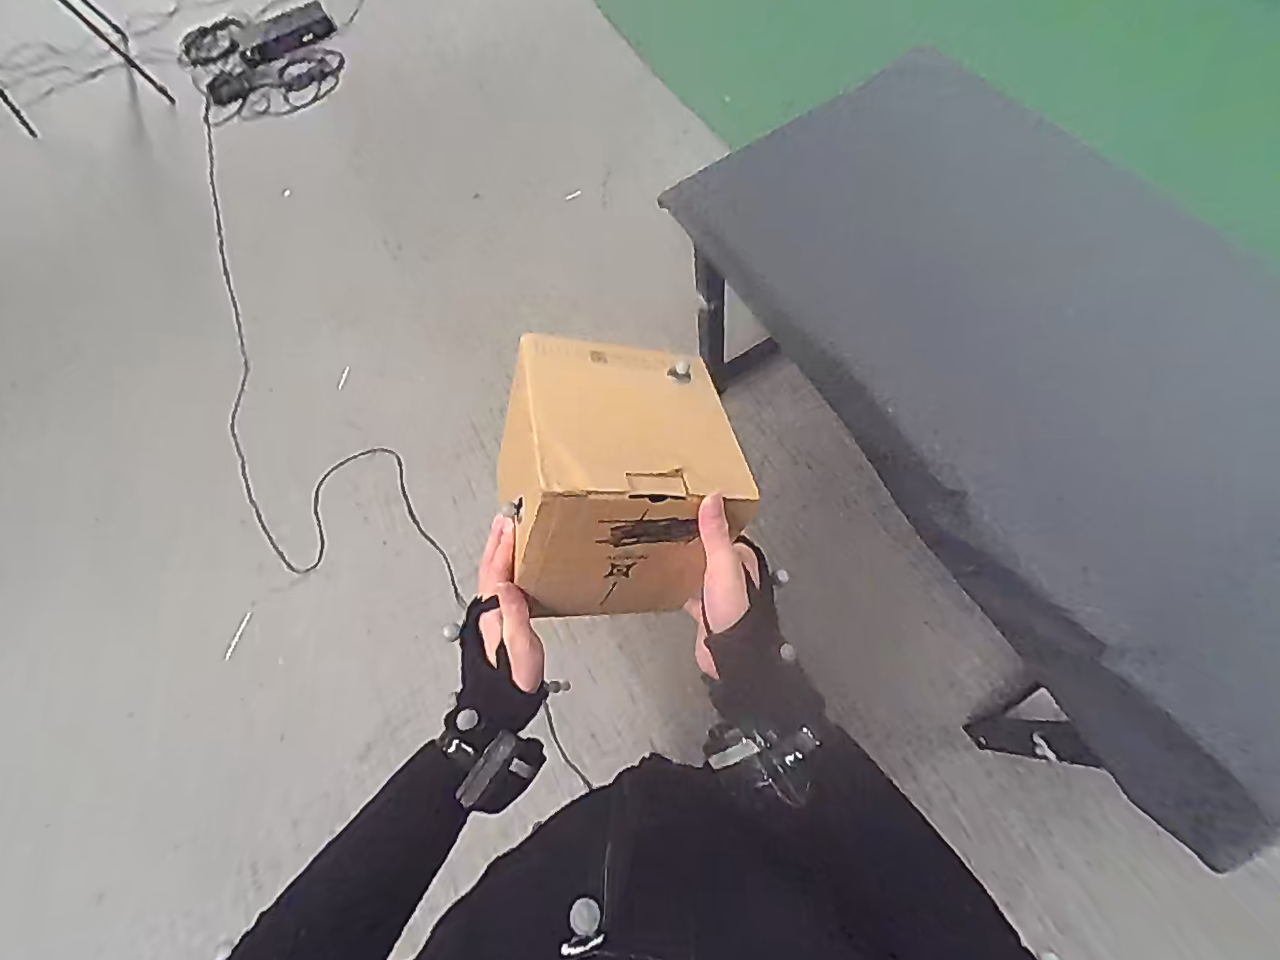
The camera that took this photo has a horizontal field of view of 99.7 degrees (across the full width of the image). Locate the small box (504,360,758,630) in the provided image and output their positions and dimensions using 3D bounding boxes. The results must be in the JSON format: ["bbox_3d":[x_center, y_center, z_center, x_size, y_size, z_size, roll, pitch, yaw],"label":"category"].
[{"bbox_3d":[-0.027,0.015,0.486,0.168,0.179,0.176,3,49,-21],"label":"small box"}]
